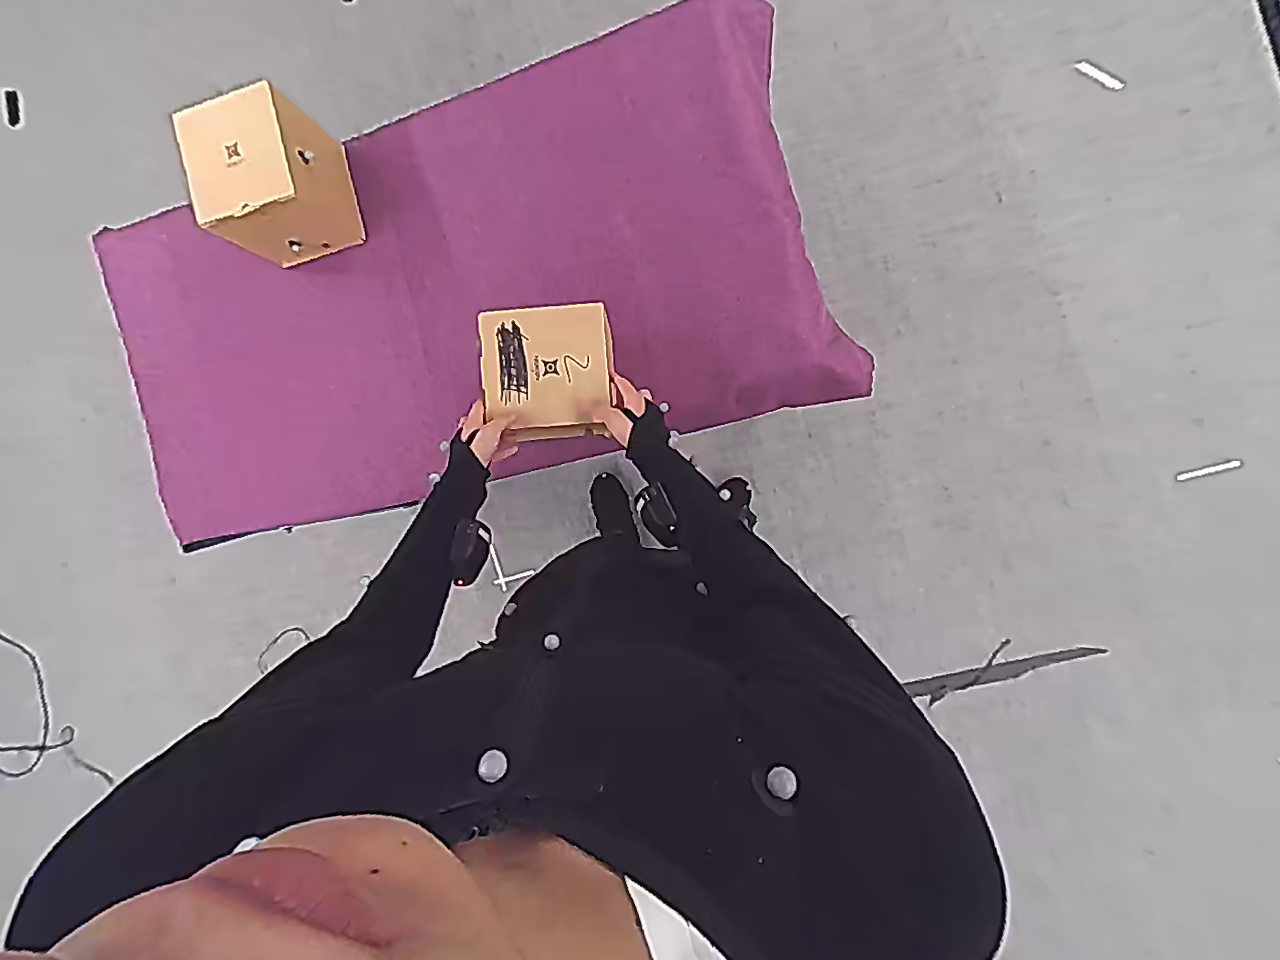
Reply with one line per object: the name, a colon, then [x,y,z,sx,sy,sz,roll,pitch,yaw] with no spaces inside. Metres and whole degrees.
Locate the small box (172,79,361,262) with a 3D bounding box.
small box: [-0.588,-0.485,0.873,0.168,0.176,0.179,-14,91,7]
